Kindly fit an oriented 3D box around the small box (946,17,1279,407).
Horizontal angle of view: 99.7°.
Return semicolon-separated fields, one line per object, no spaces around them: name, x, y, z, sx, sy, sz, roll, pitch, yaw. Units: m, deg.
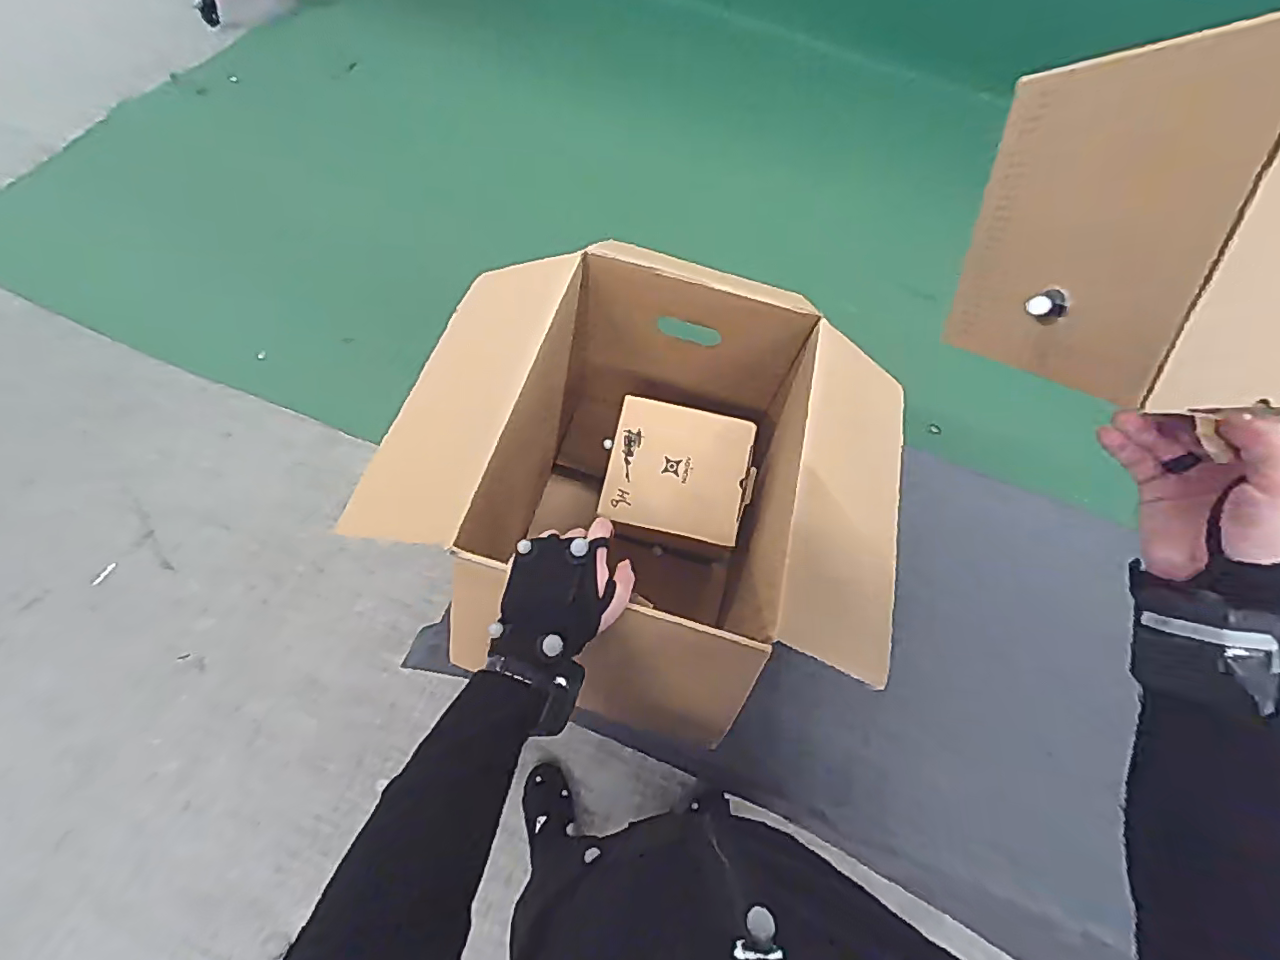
small box;0.335;-0.157;0.346;0.168;0.179;0.176;-3;27;-10
